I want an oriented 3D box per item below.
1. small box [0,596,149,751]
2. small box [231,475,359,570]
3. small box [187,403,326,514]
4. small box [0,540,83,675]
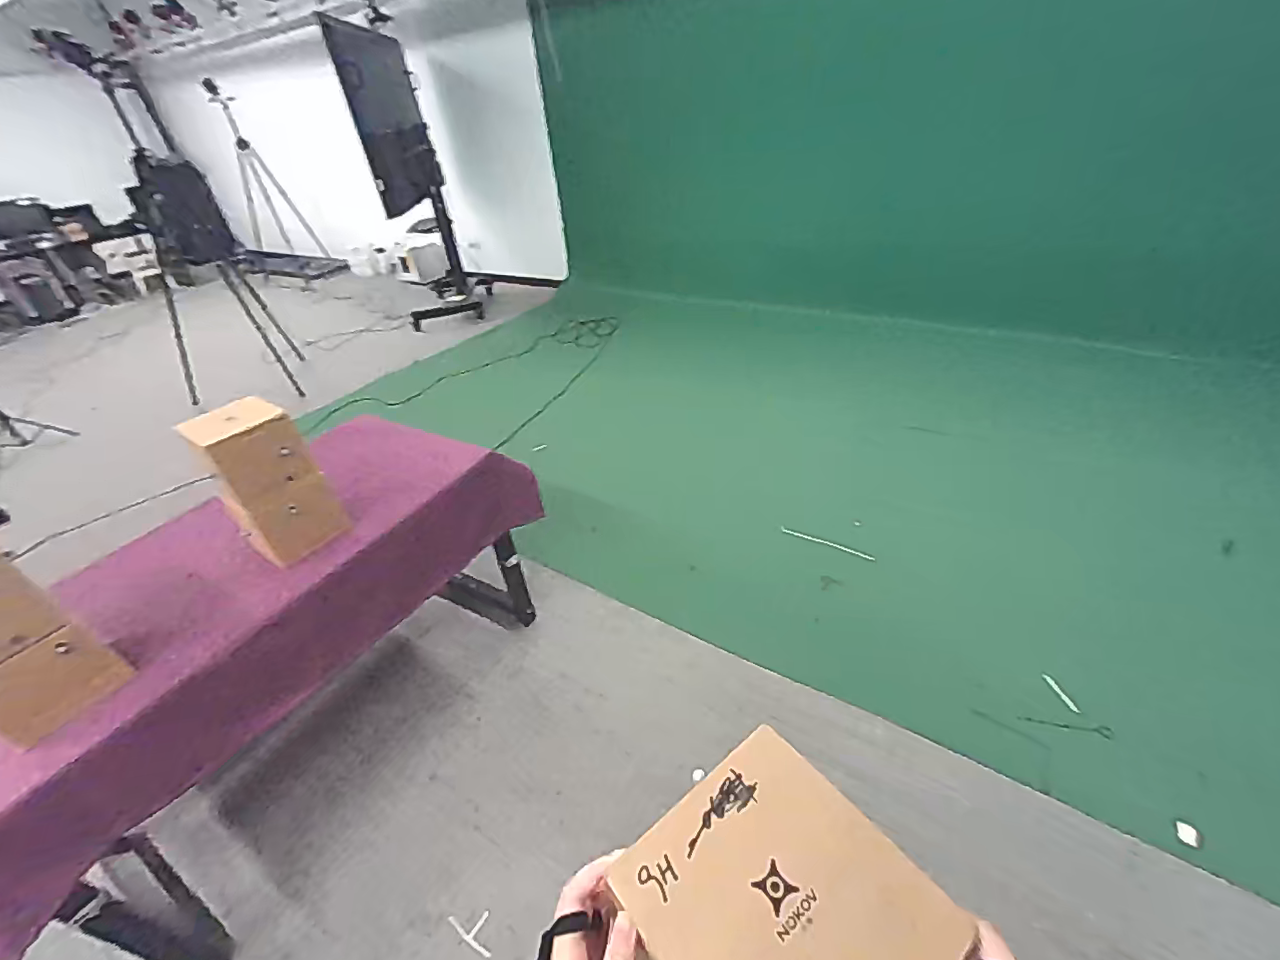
[{"bbox_3d":[-1.063,0.349,0.981,0.168,0.176,0.179,15,41,30],"label":"small box"},{"bbox_3d":[-0.819,0.086,1.297,0.168,0.176,0.179,19,44,32],"label":"small box"},{"bbox_3d":[-0.845,-0.047,1.207,0.179,0.176,0.168,18,43,33],"label":"small box"},{"bbox_3d":[-1.087,0.216,0.888,0.179,0.176,0.168,14,40,30],"label":"small box"}]
